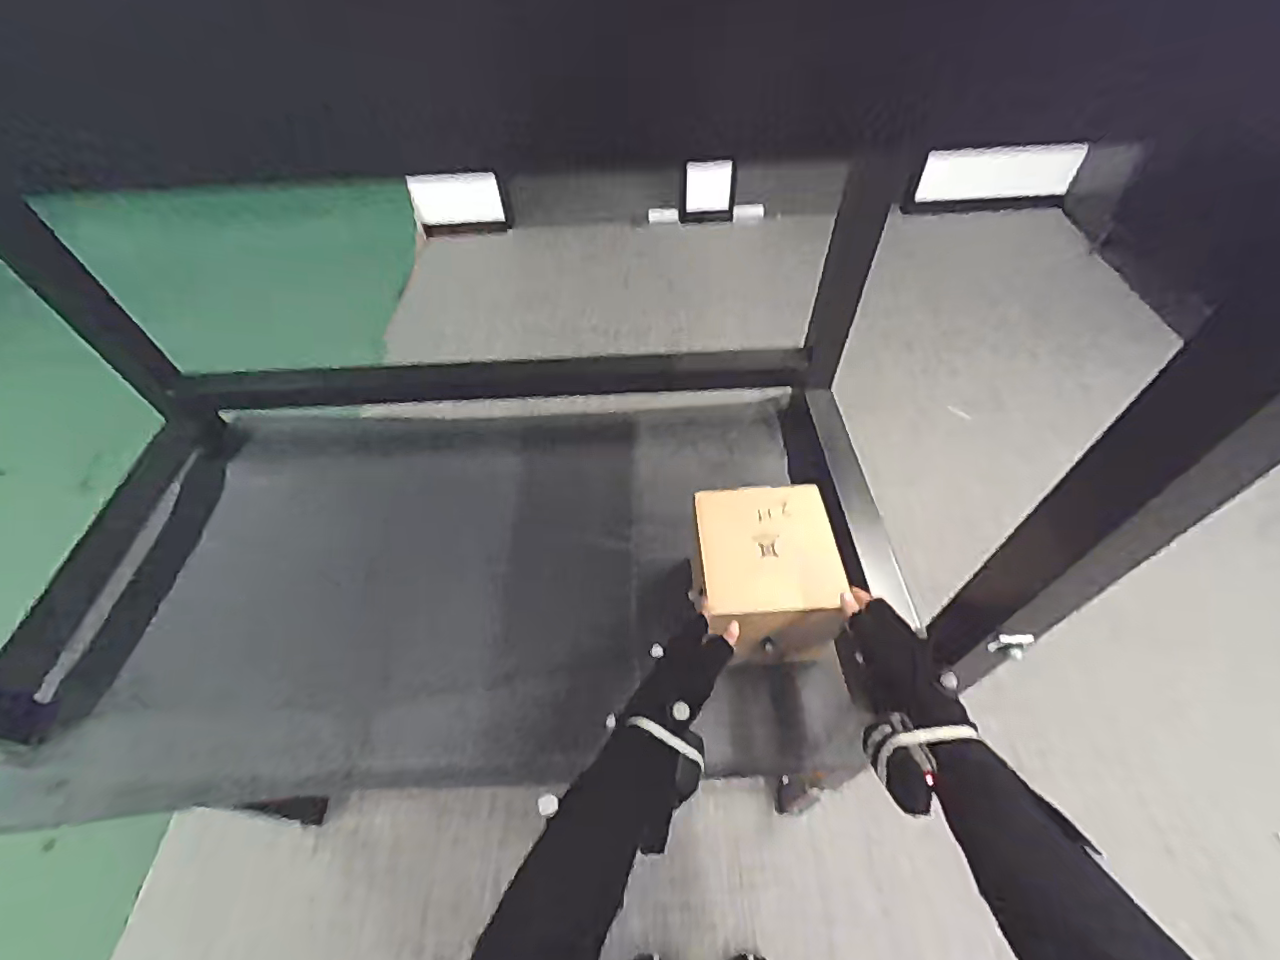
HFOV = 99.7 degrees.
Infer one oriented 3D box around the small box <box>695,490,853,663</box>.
[{"bbox_3d":[0.164,0.135,0.726,0.168,0.176,0.179,-4,50,0],"label":"small box"}]
